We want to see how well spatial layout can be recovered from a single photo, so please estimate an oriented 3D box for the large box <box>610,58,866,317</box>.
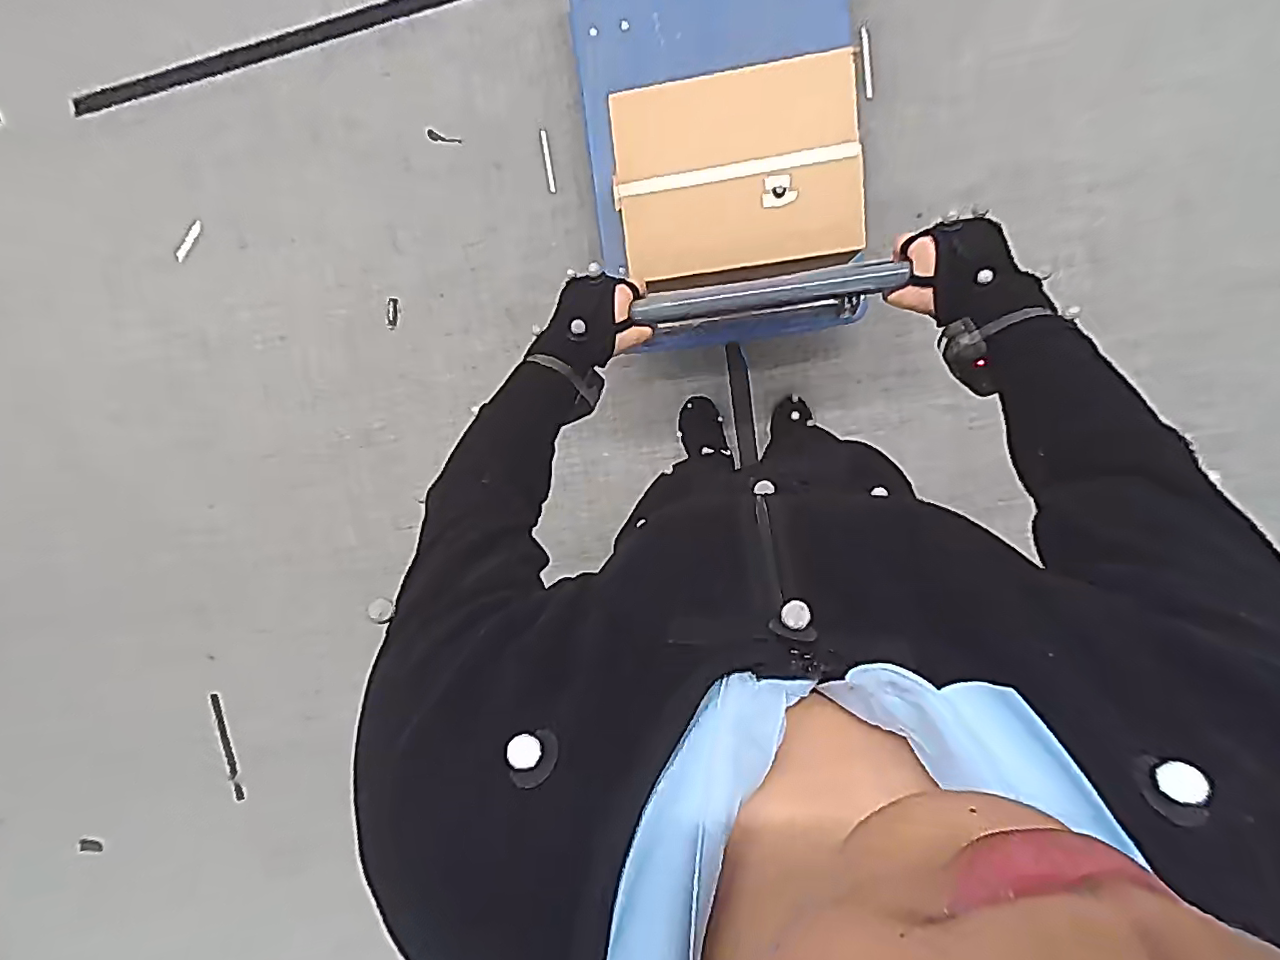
[{"bbox_3d":[0.177,-0.523,1.050,0.408,0.320,0.320,-6,99,7],"label":"large box"}]
